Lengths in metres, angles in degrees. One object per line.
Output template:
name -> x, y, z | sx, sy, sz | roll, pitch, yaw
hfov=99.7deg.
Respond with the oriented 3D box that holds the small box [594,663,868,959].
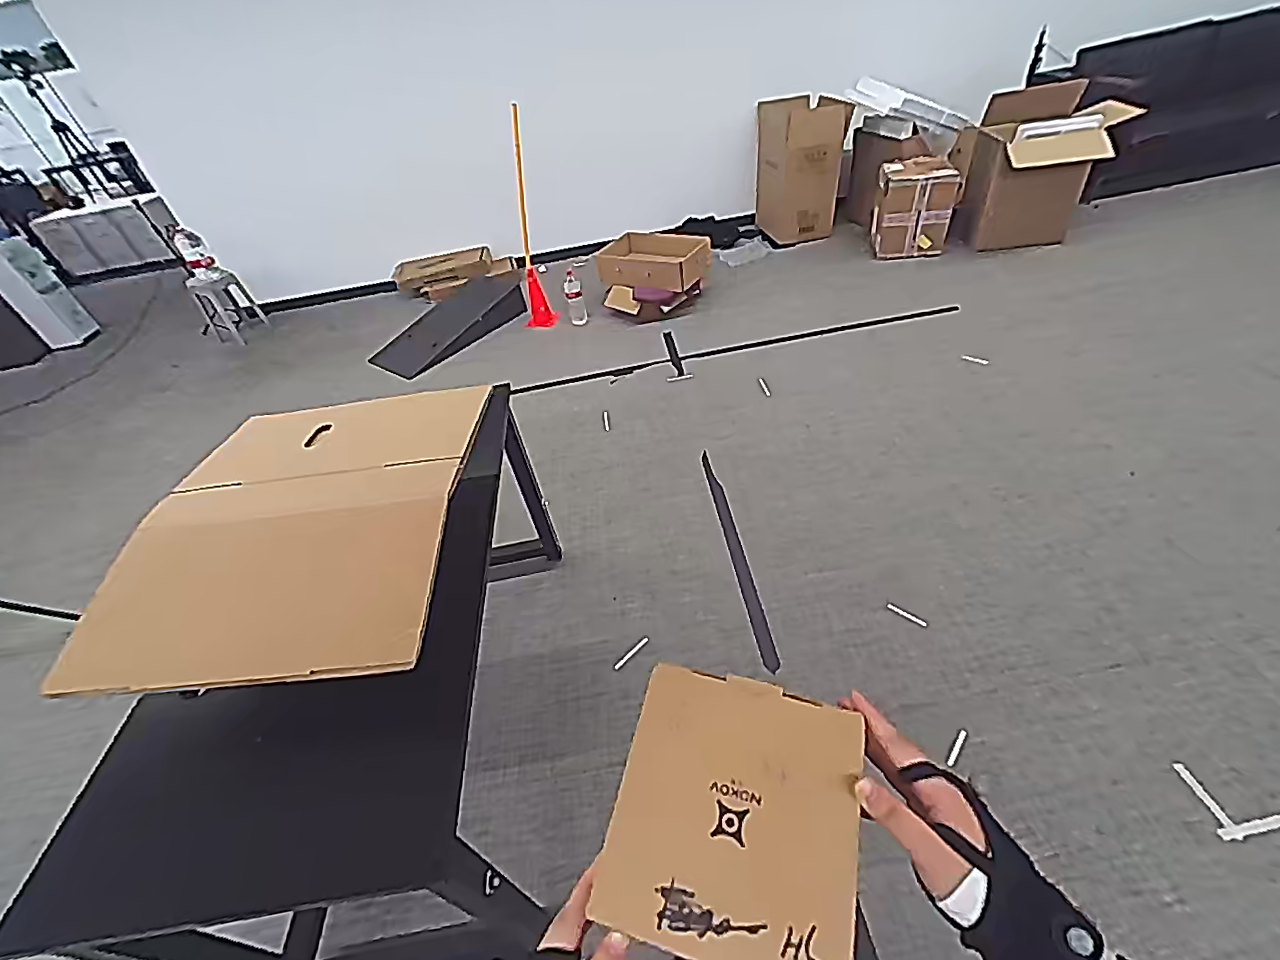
small box -> 0.080, 0.281, 0.442 | 0.168, 0.176, 0.179 | 8, 53, 17
